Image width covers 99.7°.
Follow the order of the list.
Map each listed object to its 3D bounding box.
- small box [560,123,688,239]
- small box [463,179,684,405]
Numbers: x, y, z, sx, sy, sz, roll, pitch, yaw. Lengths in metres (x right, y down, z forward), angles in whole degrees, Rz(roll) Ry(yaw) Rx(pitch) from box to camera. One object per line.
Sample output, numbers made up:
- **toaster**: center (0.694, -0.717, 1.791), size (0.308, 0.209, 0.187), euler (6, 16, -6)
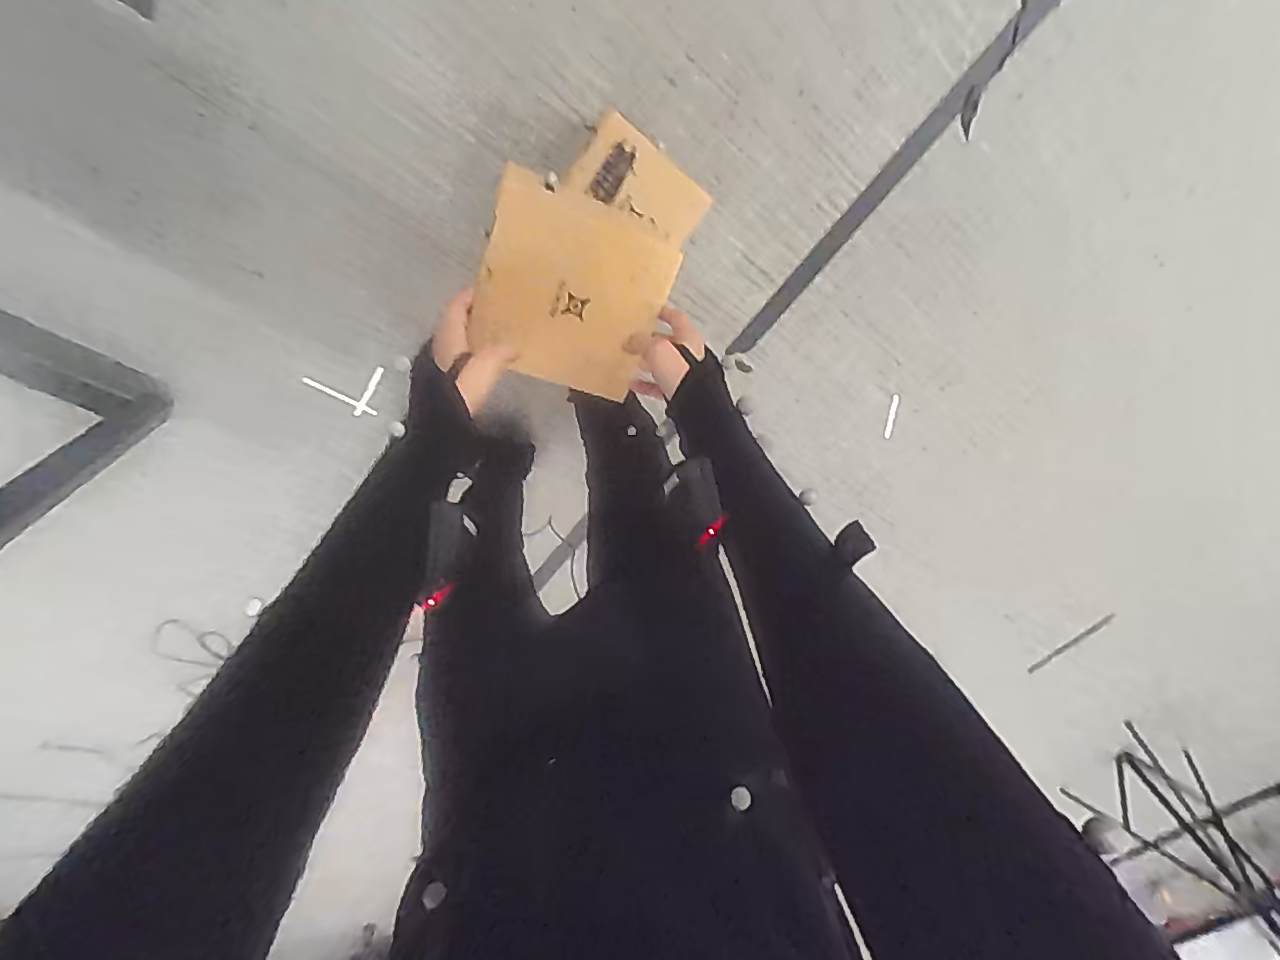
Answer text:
- **small box**: center (-0.045, -0.486, 0.941), size (0.168, 0.176, 0.179), euler (28, 116, -23)
- **small box**: center (-0.079, -0.207, 0.584), size (0.179, 0.176, 0.168), euler (13, 119, -19)
